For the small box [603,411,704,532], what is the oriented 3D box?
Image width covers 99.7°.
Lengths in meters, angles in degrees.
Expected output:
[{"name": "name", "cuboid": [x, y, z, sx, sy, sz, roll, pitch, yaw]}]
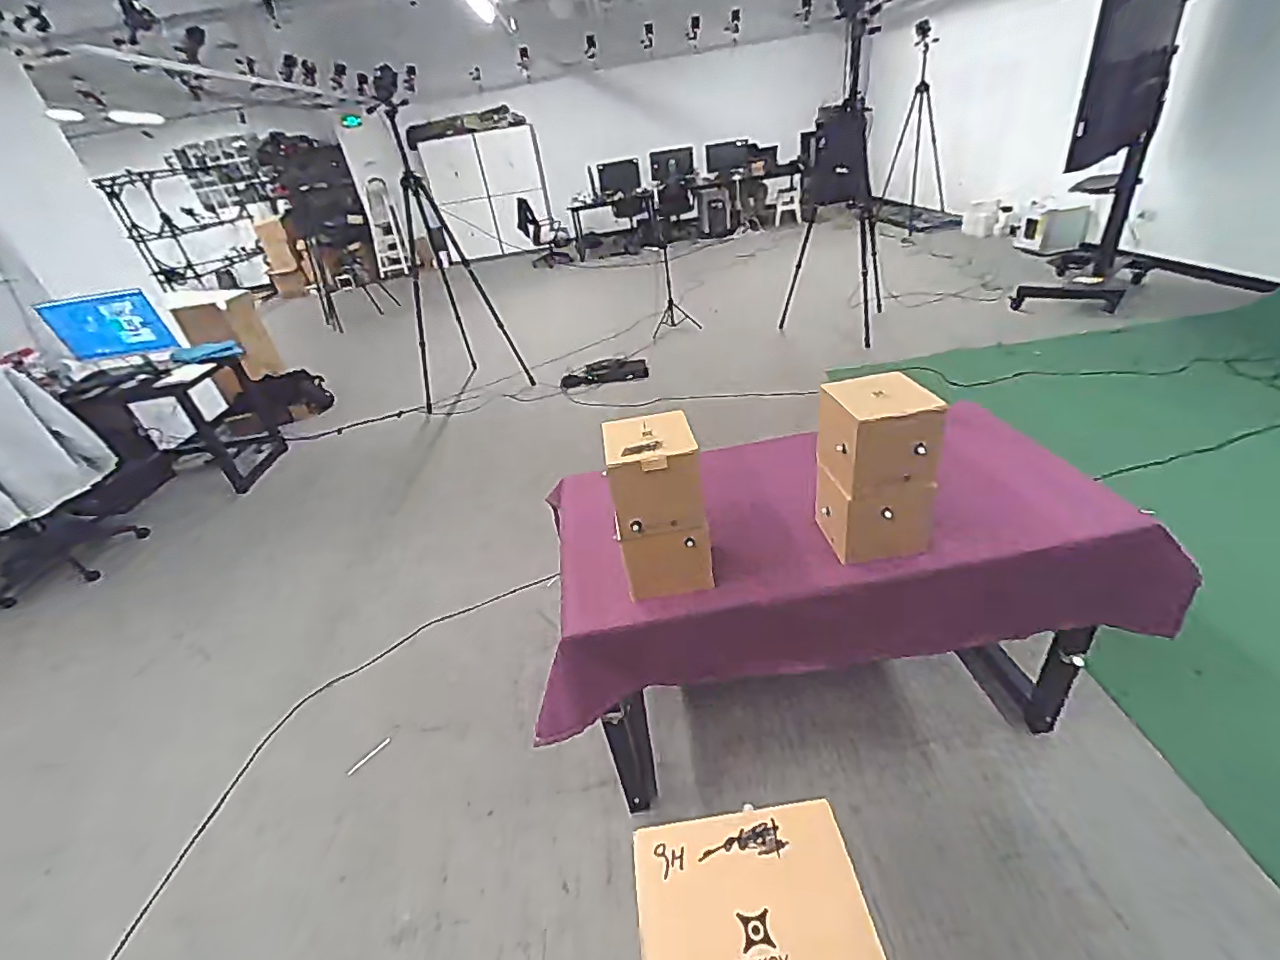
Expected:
[{"name": "small box", "cuboid": [0.025, -0.012, 1.046, 0.168, 0.176, 0.179, -9, 31, -1]}]

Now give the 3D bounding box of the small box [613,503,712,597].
[{"name": "small box", "cuboid": [0.046, 0.126, 1.132, 0.179, 0.176, 0.168, -9, 32, -1]}]

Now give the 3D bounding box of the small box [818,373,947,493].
[{"name": "small box", "cuboid": [0.457, -0.087, 1.048, 0.168, 0.176, 0.179, -10, 32, -1]}]

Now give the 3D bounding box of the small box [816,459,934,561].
[{"name": "small box", "cuboid": [0.480, 0.052, 1.131, 0.179, 0.176, 0.168, -9, 33, 1]}]

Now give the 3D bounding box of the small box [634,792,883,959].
[{"name": "small box", "cuboid": [0.093, 0.386, 0.428, 0.168, 0.176, 0.179, -9, 36, 0]}]
